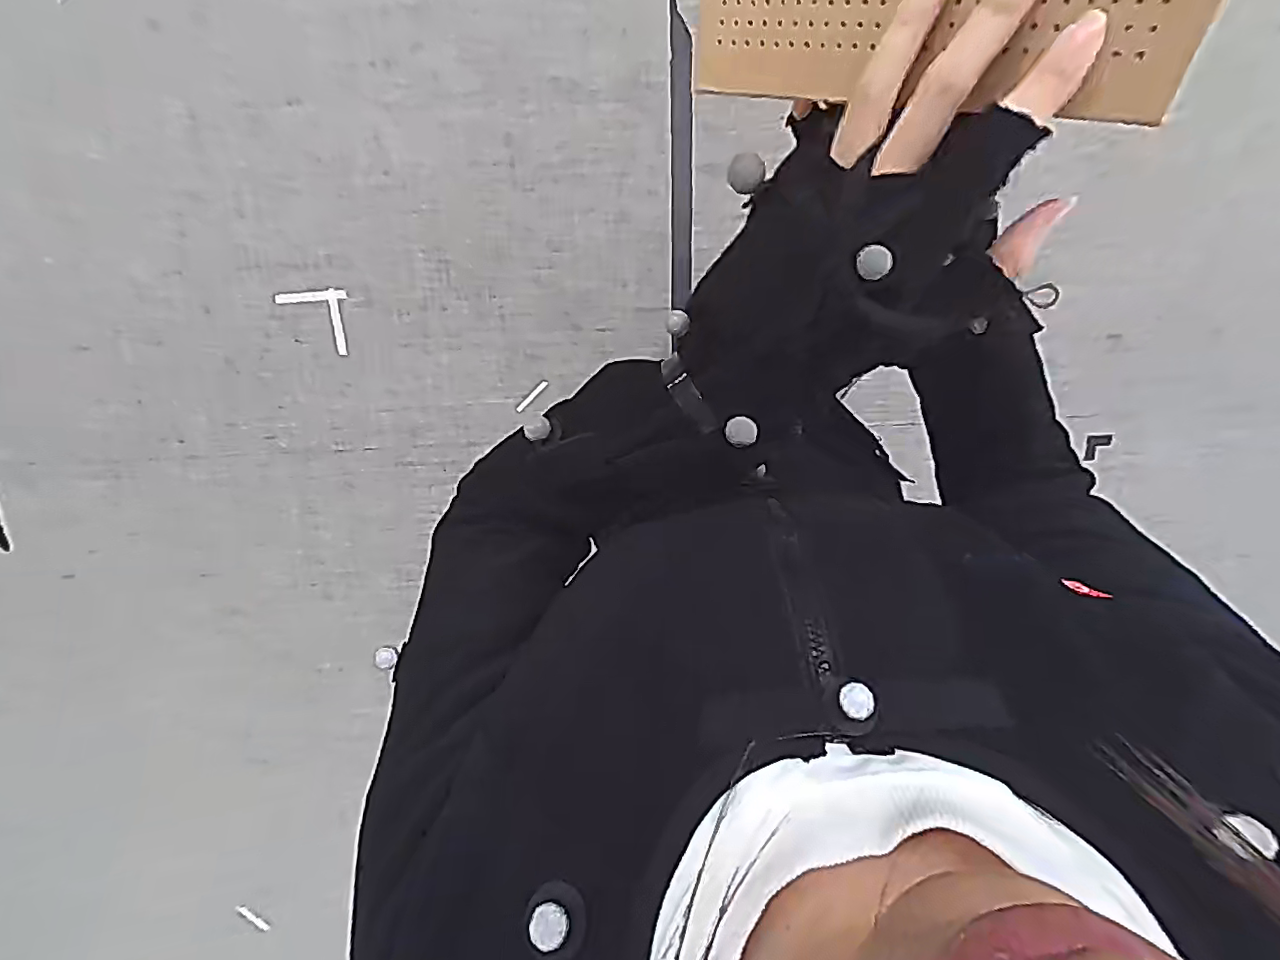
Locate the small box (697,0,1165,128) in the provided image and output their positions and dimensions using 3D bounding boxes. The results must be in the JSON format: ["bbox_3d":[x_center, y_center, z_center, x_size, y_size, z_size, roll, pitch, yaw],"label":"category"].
[{"bbox_3d":[0.143,-0.257,0.233,0.179,0.168,0.176,25,131,26],"label":"small box"}]
